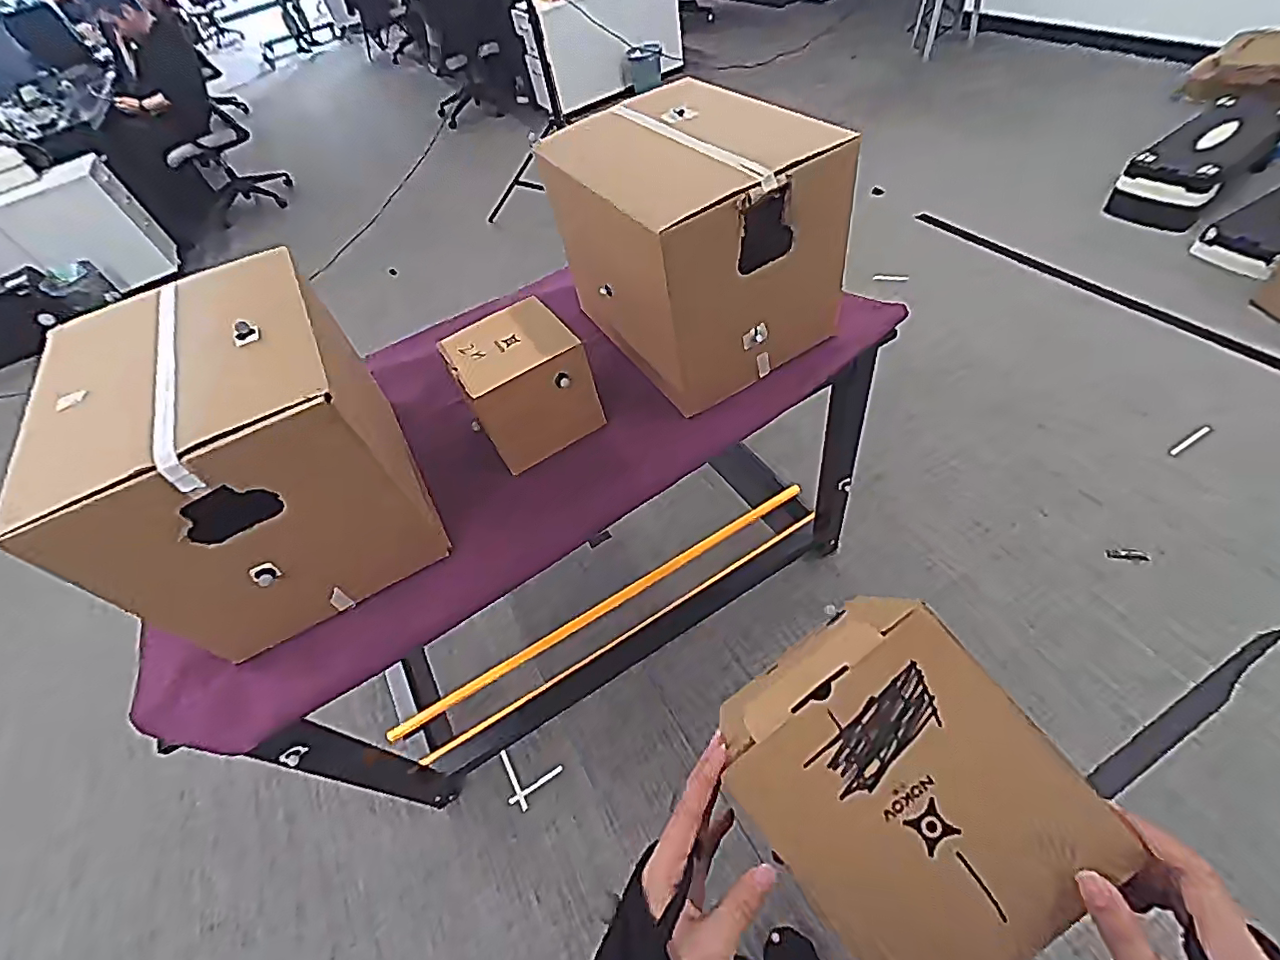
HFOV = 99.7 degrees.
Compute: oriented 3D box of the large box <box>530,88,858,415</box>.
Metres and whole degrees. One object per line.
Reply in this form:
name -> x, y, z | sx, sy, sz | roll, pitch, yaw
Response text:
large box -> 0.080, -0.379, 0.882 | 0.320, 0.320, 0.408 | -30, 51, -12
